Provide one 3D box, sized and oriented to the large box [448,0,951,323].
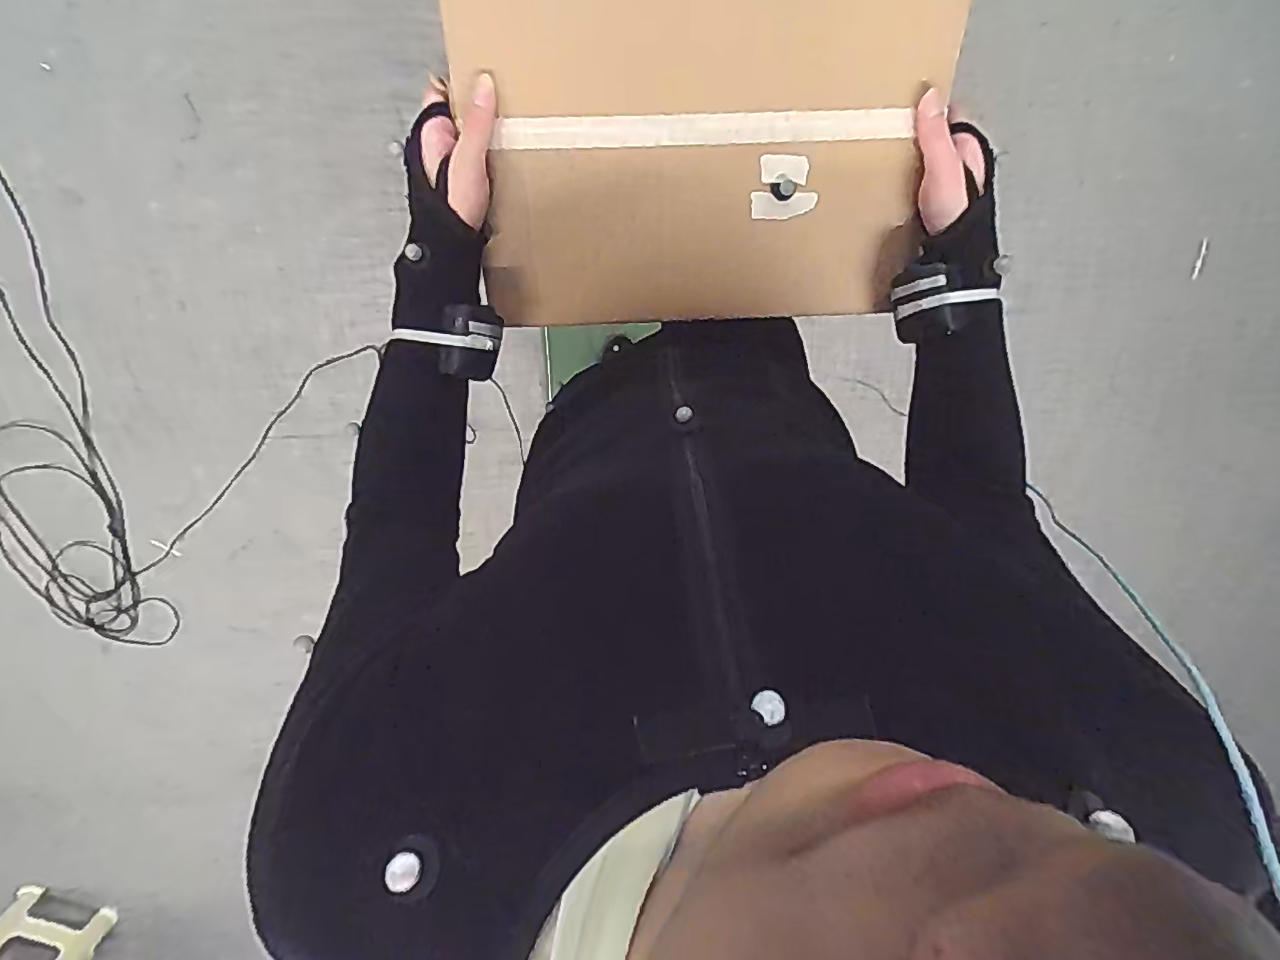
[{"bbox_3d":[0.042,-0.371,0.592,0.408,0.320,0.320,-4,119,-4],"label":"large box"}]
